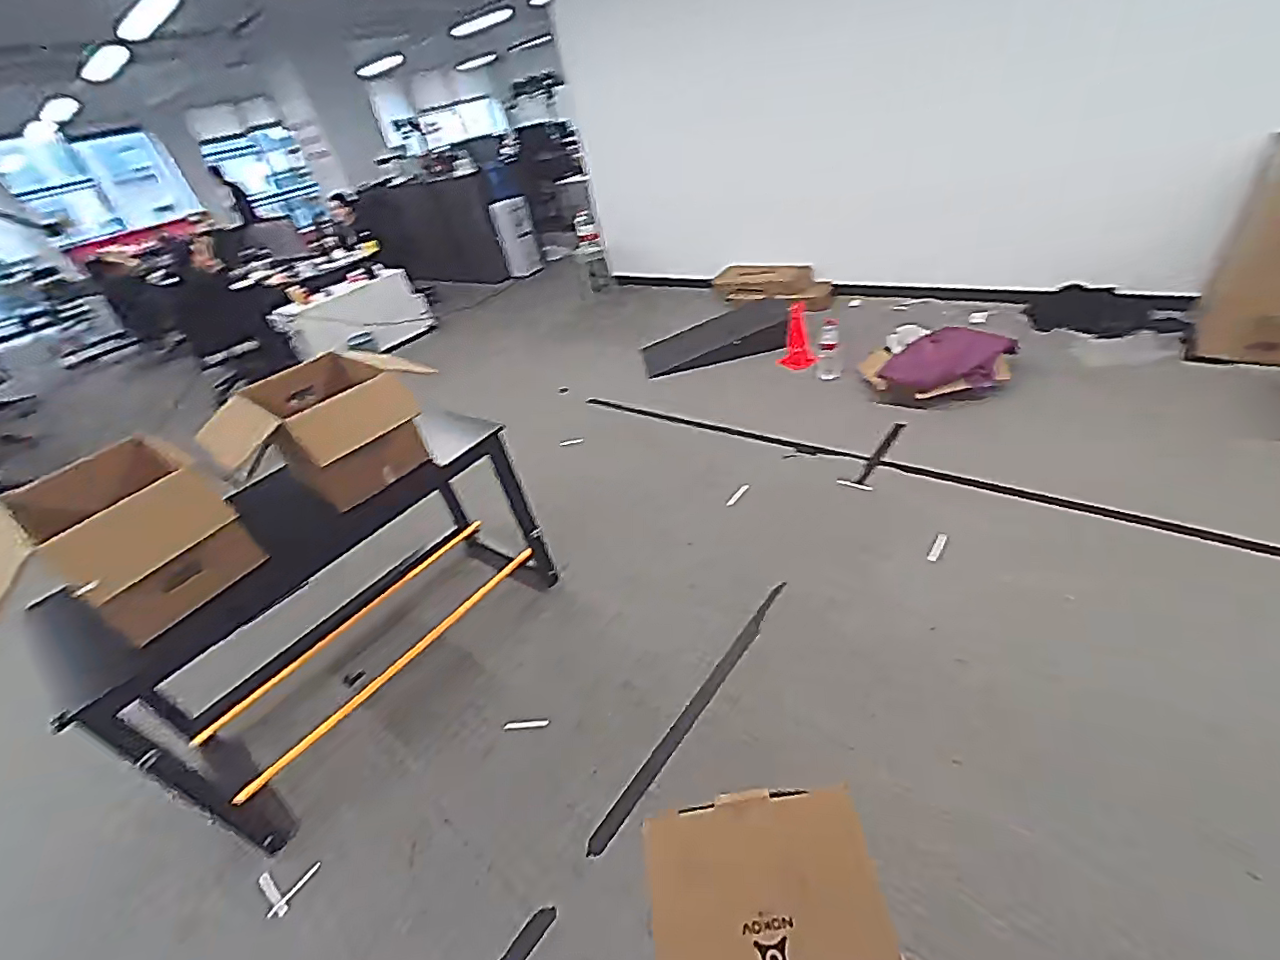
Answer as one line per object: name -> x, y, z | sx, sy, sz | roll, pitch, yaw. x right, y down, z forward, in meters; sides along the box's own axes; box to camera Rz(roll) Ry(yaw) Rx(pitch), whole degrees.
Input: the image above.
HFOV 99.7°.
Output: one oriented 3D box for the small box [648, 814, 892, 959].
small box -> 0.104, 0.394, 0.438 | 0.168, 0.176, 0.179 | -11, 52, 1
